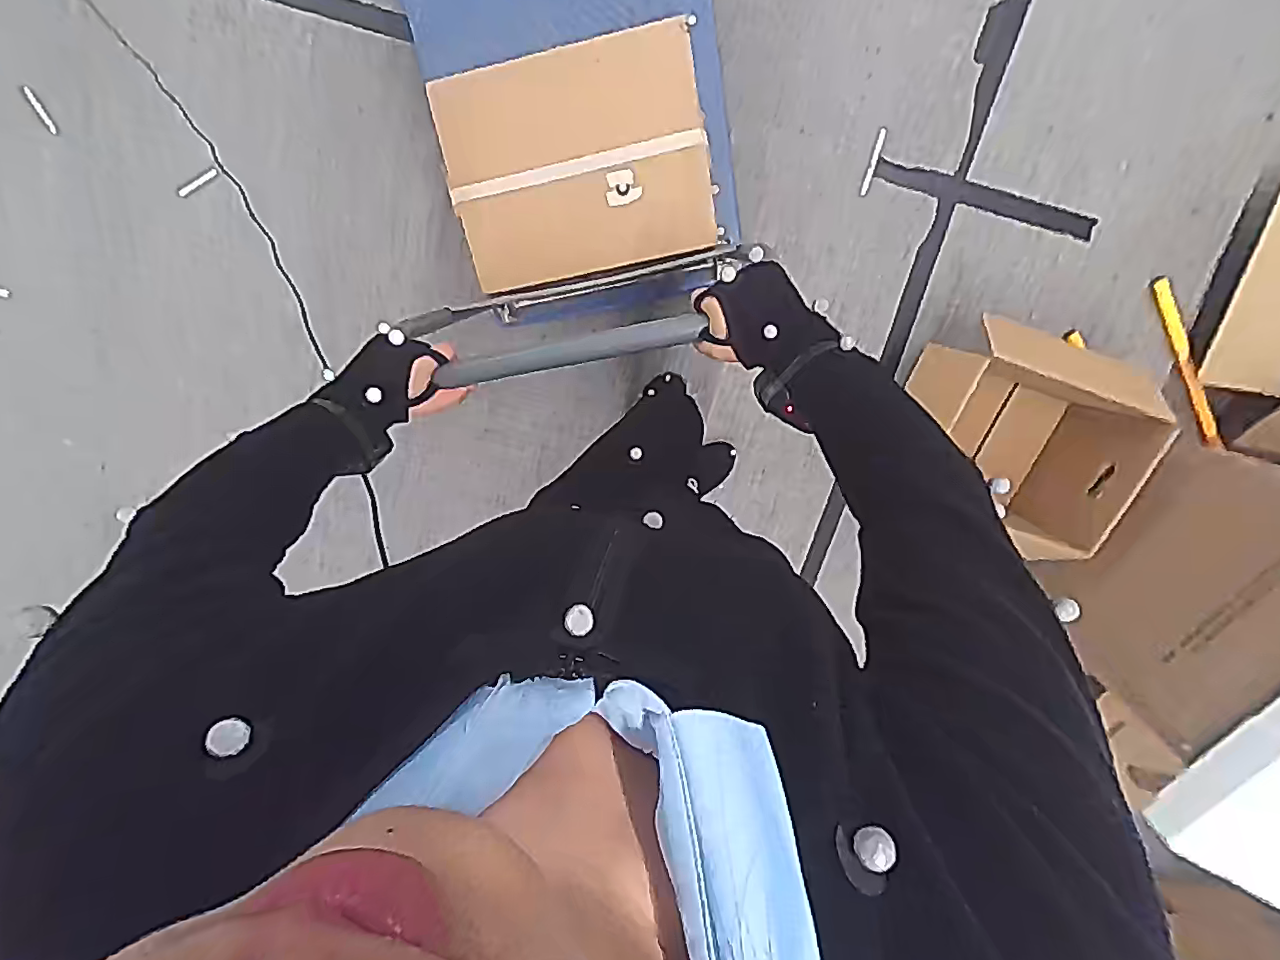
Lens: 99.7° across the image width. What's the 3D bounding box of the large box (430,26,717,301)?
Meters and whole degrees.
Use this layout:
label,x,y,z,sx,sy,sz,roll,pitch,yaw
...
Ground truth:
label,x,y,z,sx,sy,sz,roll,pitch,yaw
large box,-0.094,-0.529,0.988,0.408,0.320,0.320,-10,110,6
